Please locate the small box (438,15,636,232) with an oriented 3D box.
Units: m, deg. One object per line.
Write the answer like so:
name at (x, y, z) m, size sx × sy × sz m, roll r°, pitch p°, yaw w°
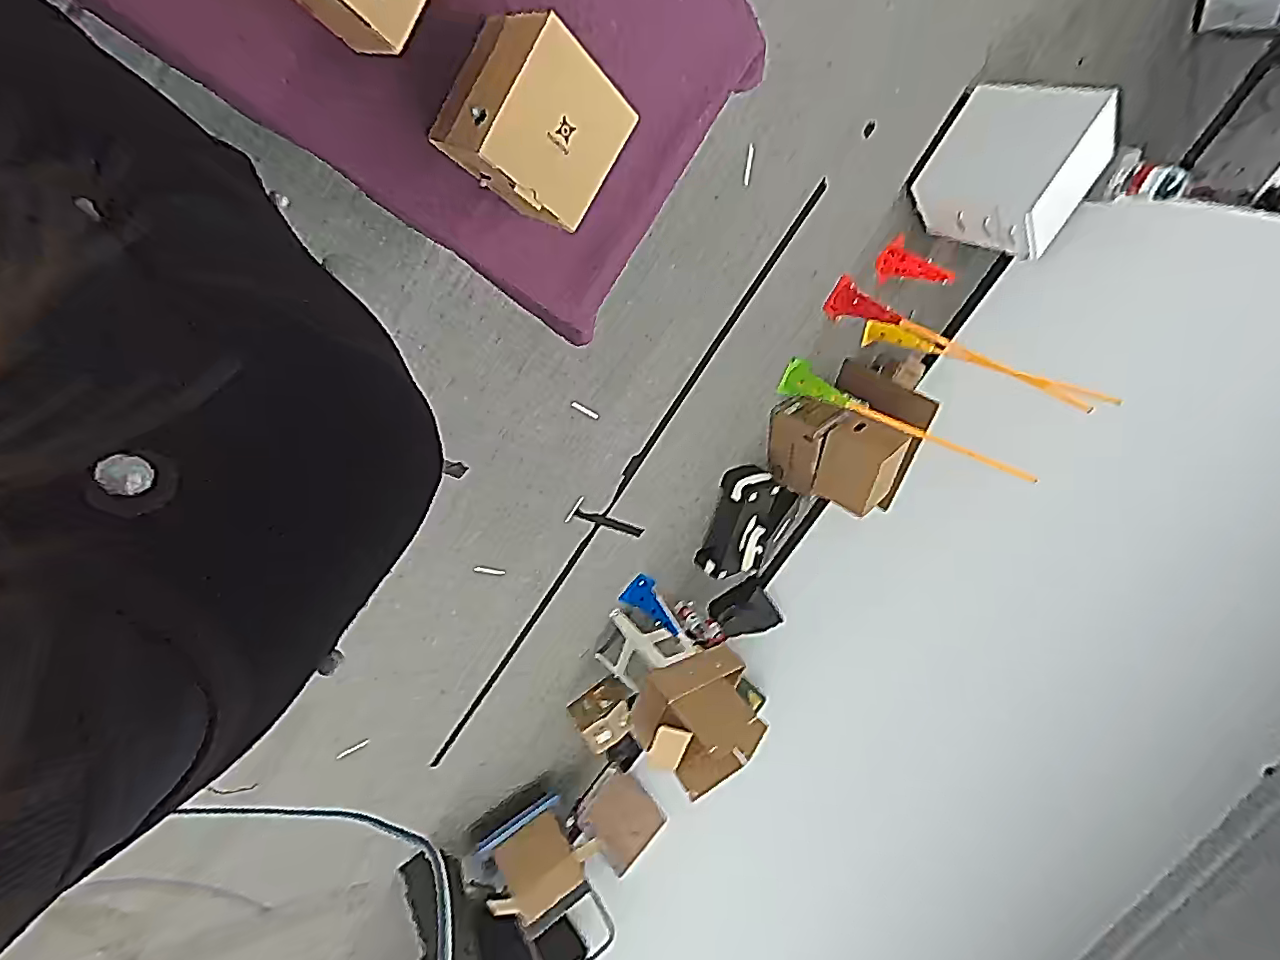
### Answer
small box at (-0.144, -0.478, 0.733) m, size 0.168 × 0.176 × 0.179 m, roll 20°, pitch 106°, yaw -50°
